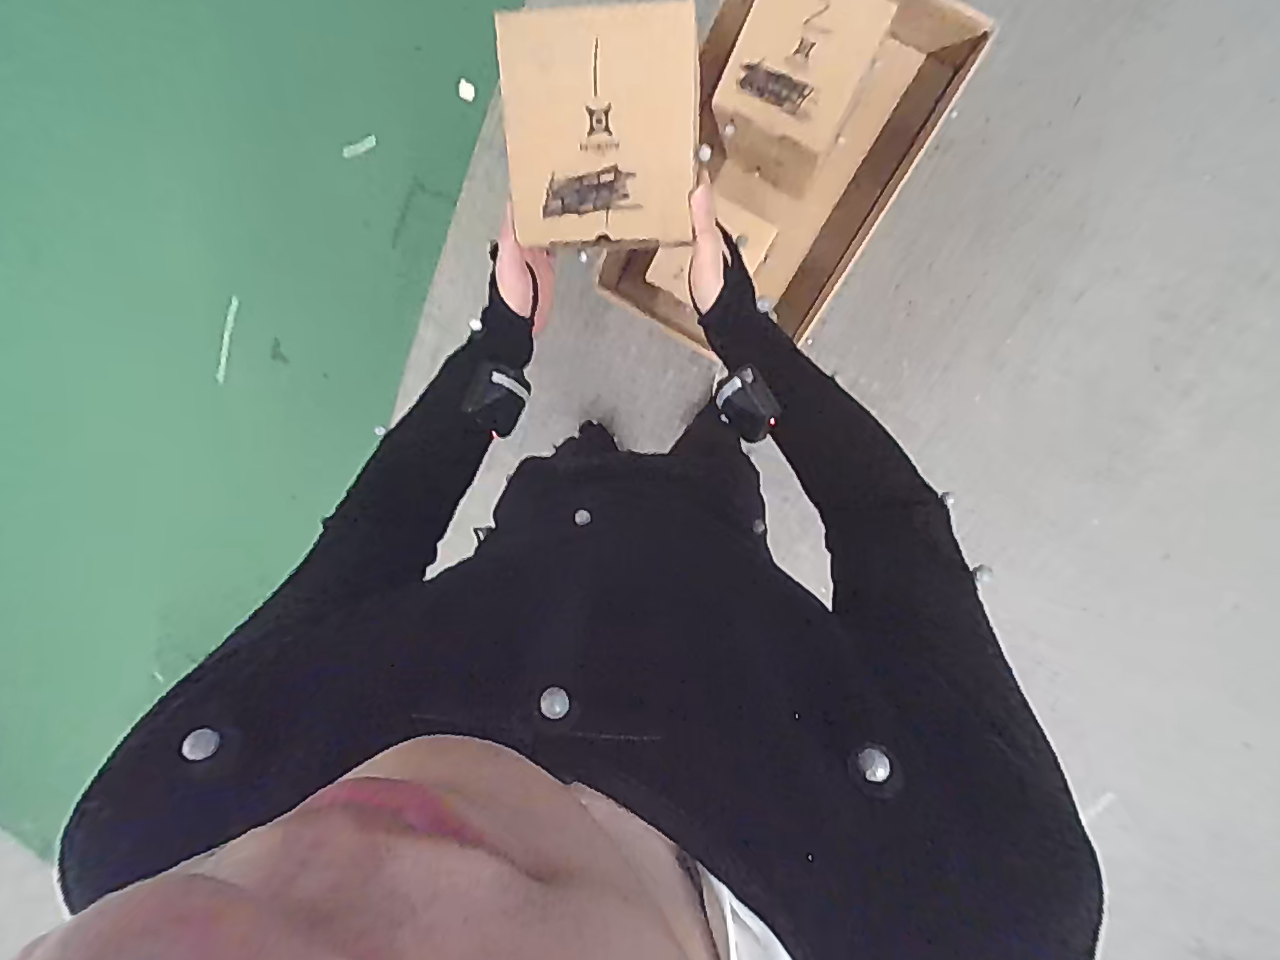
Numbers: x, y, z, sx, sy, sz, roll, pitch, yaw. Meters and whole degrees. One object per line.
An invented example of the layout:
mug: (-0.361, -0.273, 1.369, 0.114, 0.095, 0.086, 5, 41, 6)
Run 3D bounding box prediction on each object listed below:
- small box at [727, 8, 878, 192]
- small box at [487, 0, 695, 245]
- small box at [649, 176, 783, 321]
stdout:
small box: (0.261, -0.617, 0.904, 0.168, 0.176, 0.179, 30, 112, 3)
small box: (-0.031, -0.329, 0.533, 0.168, 0.176, 0.179, 0, 112, 7)
small box: (0.139, -0.409, 0.985, 0.168, 0.176, 0.179, 32, 109, 3)
